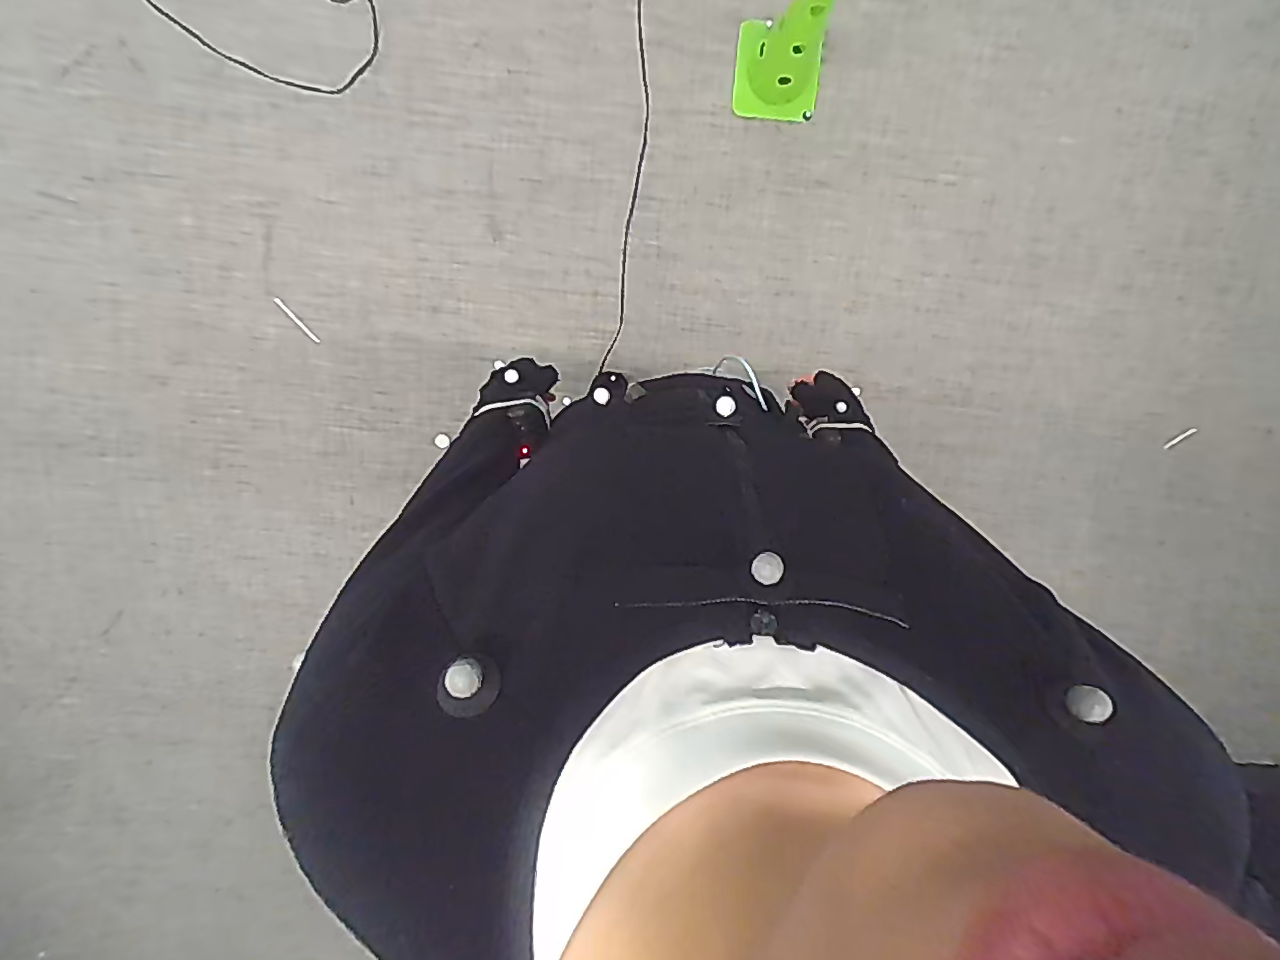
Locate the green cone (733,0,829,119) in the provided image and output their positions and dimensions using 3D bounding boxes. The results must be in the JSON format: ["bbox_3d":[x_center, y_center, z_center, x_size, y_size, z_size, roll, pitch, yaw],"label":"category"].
[{"bbox_3d":[0.329,-0.936,1.112,0.202,0.368,0.200,4,102,-1],"label":"green cone"}]
